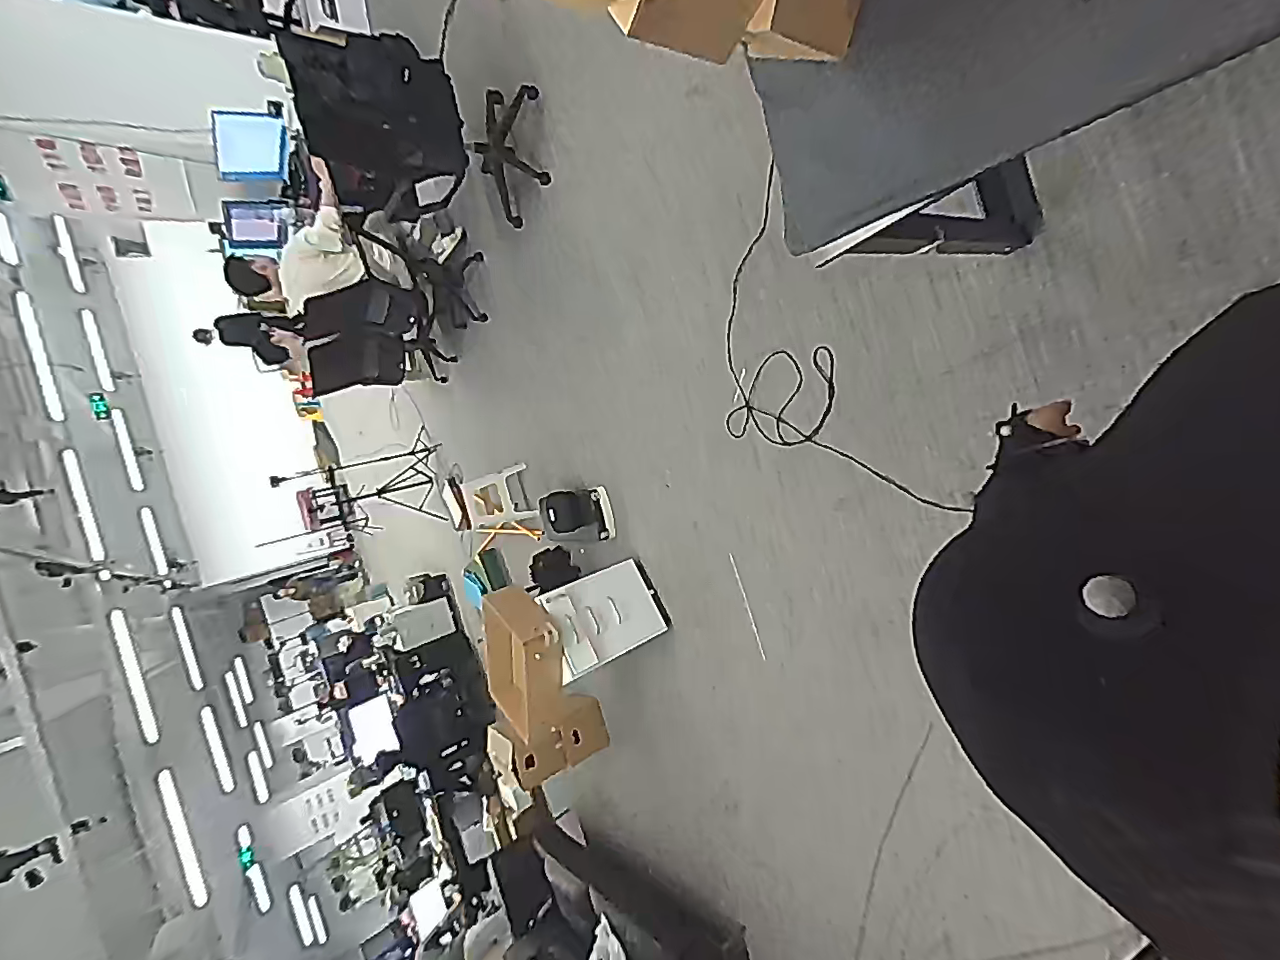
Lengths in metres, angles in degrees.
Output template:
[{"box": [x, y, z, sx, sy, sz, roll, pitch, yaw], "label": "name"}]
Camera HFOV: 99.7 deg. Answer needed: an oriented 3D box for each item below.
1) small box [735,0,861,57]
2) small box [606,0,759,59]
[{"box": [0.180, -0.674, 0.707, 0.179, 0.176, 0.168, 39, 133, 37], "label": "small box"}, {"box": [0.053, -0.630, 0.611, 0.168, 0.176, 0.179, 62, 144, 14], "label": "small box"}]
